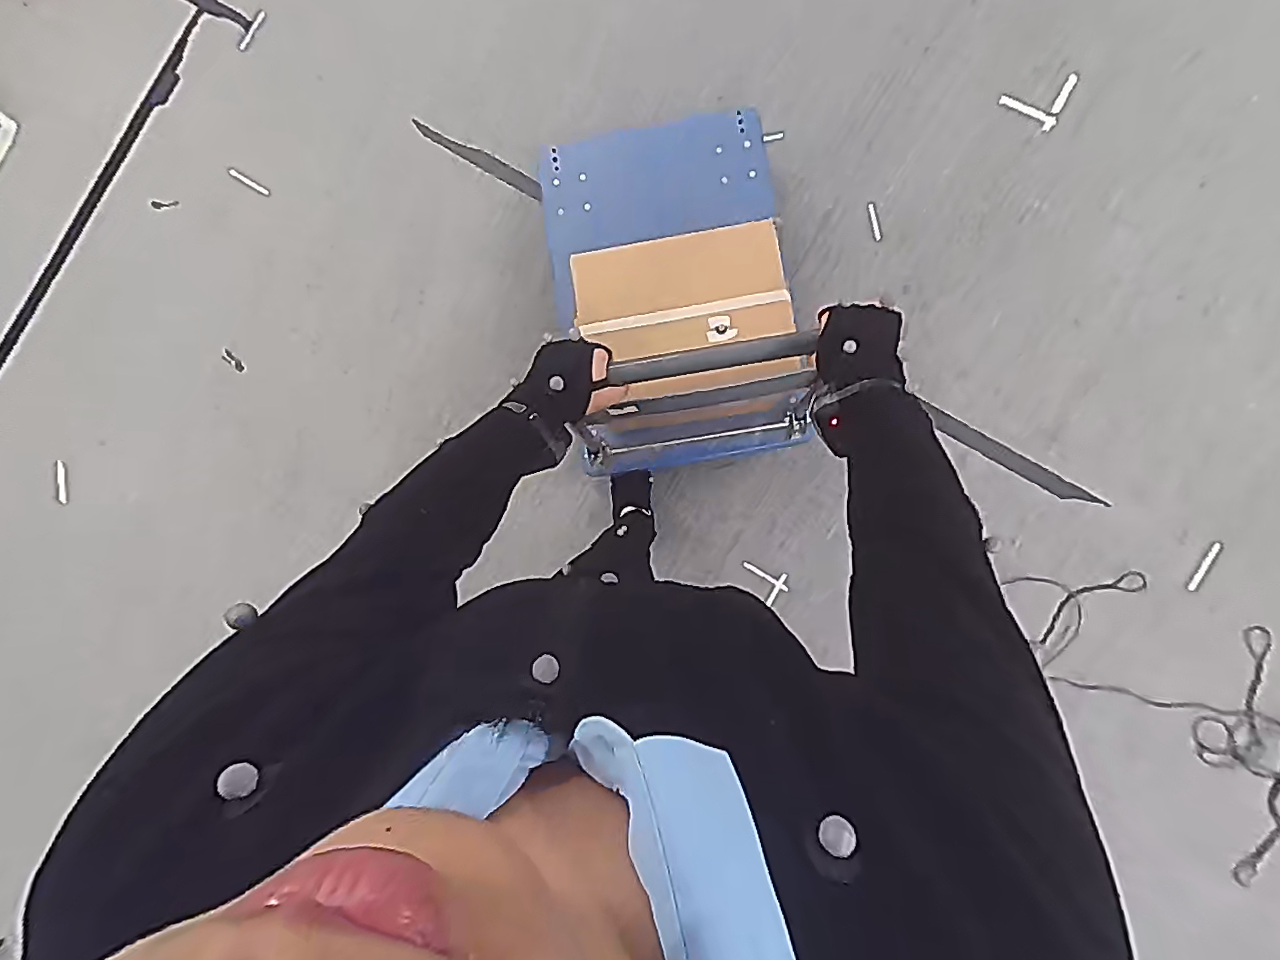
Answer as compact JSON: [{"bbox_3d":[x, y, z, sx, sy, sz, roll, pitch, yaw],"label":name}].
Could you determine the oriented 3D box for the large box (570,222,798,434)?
[{"bbox_3d":[0.087,-0.305,1.189,0.408,0.320,0.320,-9,86,2],"label":"large box"}]
